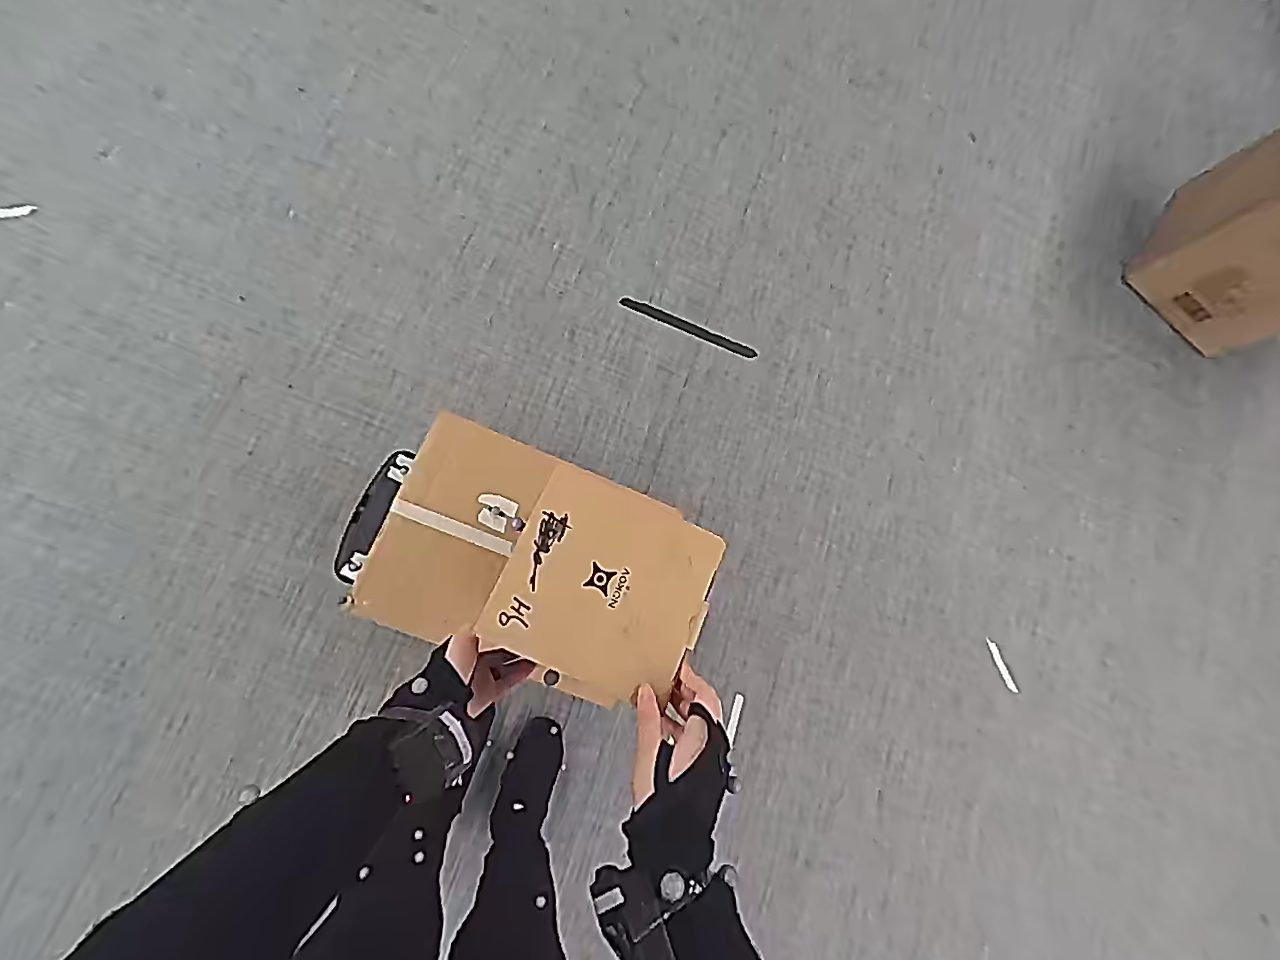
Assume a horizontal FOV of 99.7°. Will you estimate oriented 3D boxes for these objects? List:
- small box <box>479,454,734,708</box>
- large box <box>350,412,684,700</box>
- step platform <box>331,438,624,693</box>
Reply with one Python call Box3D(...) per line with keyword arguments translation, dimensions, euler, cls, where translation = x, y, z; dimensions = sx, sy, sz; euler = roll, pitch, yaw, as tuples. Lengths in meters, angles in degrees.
Box3D(translation=(-0.039, 0.102, 0.537), dimensions=(0.179, 0.176, 0.168), euler=(26, 70, -6), cls="small box")
Box3D(translation=(-0.187, 0.132, 0.932), dimensions=(0.408, 0.320, 0.320), euler=(23, 76, -6), cls="large box")
Box3D(translation=(-0.269, 0.184, 1.153), dimensions=(0.684, 0.204, 0.286), euler=(28, 76, -5), cls="step platform")
